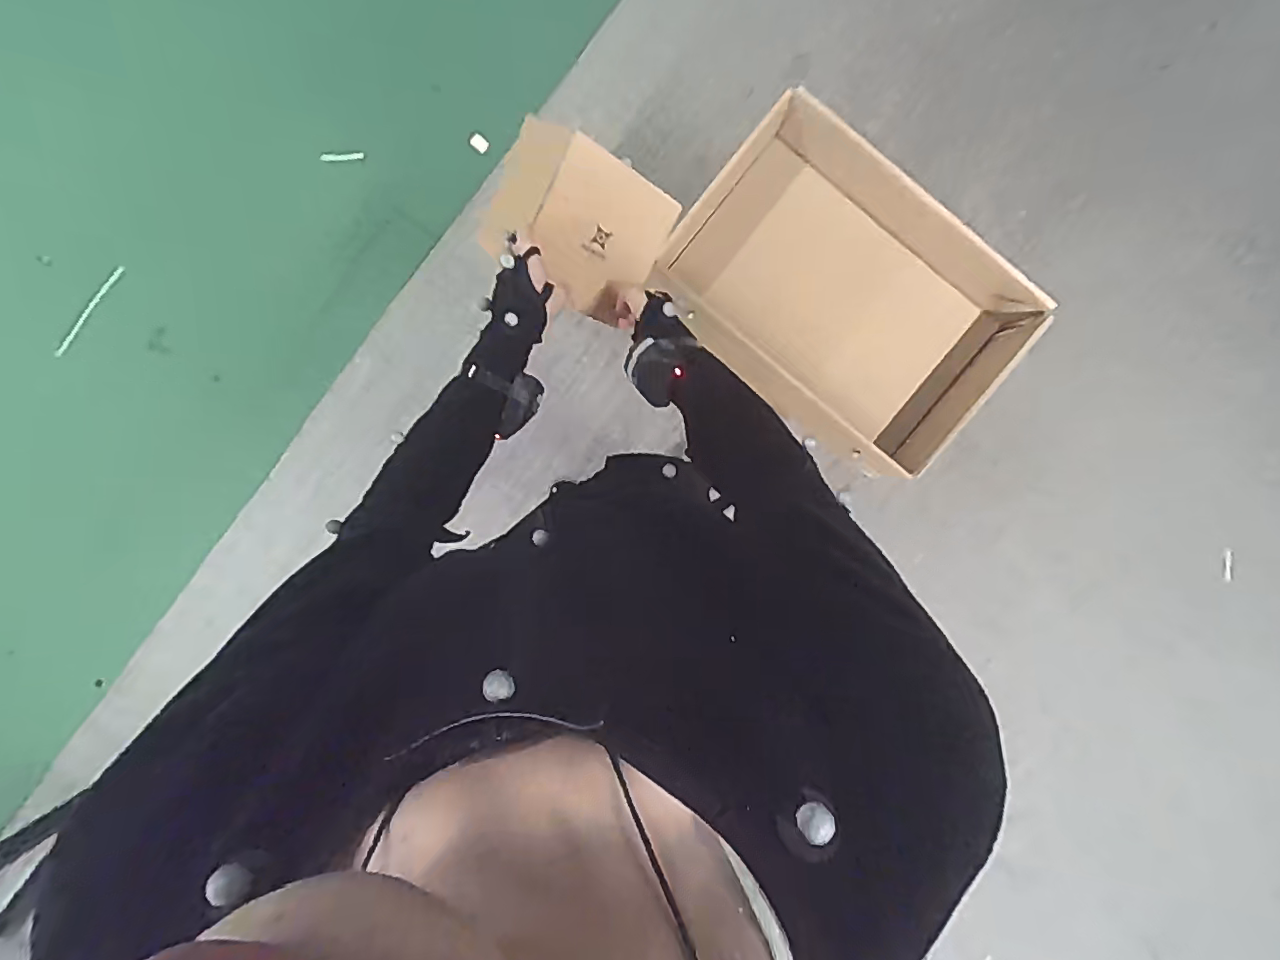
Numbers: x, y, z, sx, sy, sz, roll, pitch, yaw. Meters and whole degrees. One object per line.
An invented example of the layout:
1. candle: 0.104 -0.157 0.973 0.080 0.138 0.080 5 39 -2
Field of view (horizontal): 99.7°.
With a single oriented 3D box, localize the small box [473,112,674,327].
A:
1. small box: -0.095 -0.334 0.695 0.168 0.176 0.179 14 118 -41
